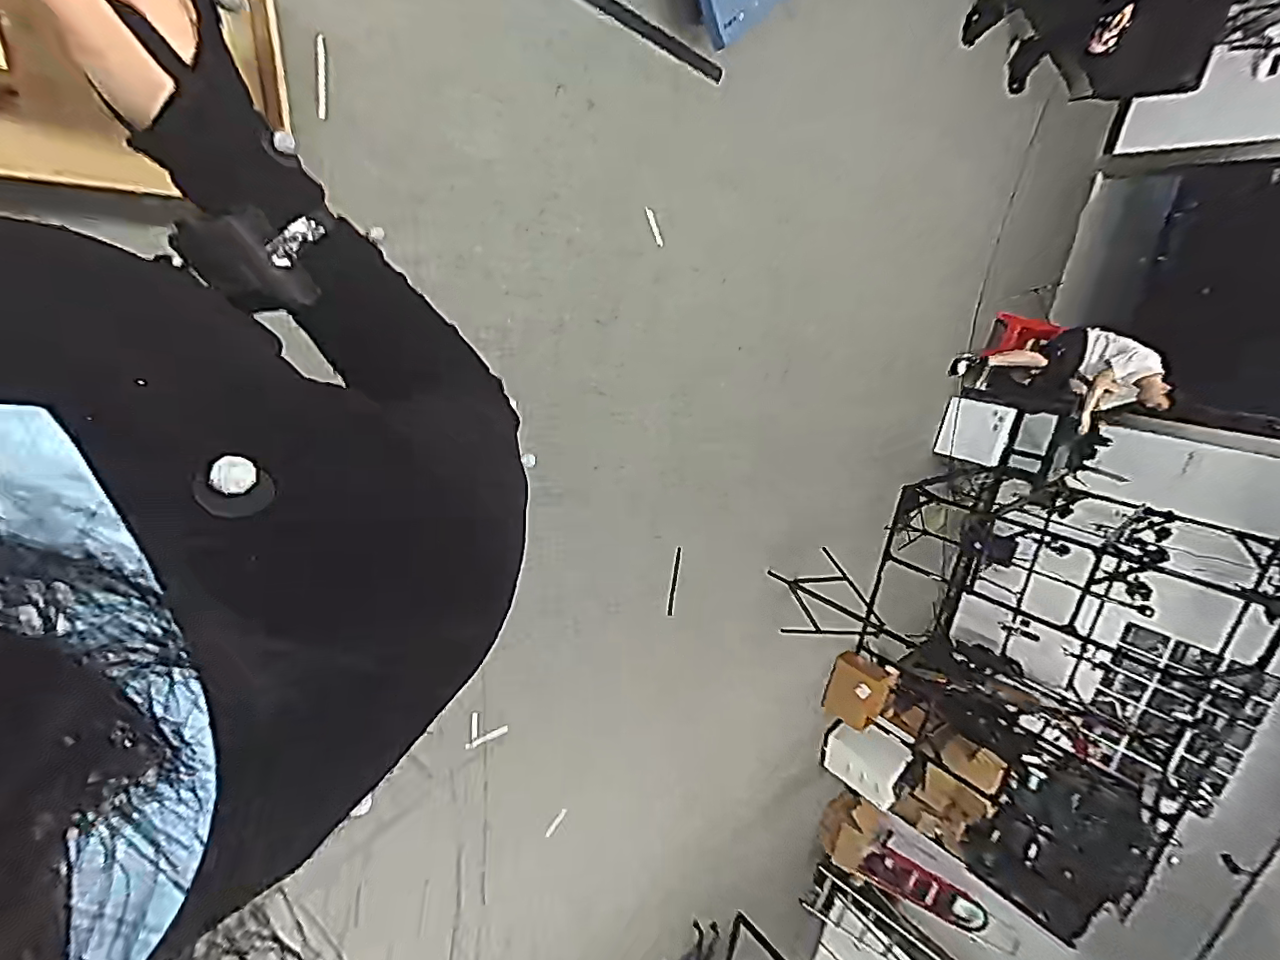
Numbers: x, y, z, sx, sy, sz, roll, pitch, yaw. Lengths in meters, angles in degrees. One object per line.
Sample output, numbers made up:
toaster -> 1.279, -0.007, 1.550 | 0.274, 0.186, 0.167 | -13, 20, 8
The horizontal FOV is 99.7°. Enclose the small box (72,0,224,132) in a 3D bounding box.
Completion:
small box -> -0.824, -0.713, 0.907 | 0.168, 0.176, 0.179 | -12, 116, -39

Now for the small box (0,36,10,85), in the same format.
small box -> -1.016, -0.667, 0.739 | 0.179, 0.176, 0.168 | -16, 117, -40
